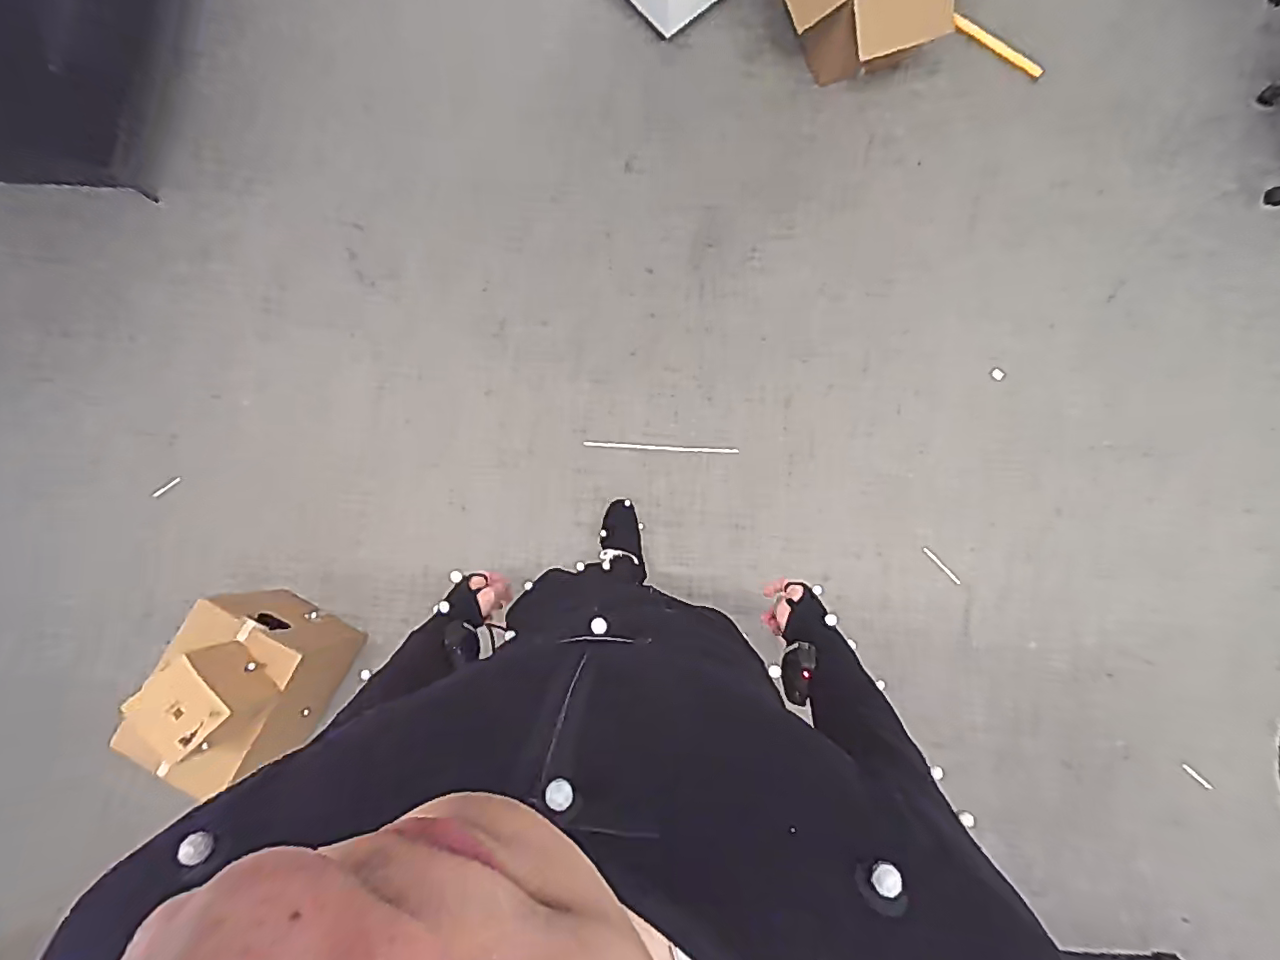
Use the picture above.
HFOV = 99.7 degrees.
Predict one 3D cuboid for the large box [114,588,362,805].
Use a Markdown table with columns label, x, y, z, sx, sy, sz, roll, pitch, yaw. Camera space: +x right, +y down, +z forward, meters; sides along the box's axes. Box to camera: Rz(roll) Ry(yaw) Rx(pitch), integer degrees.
| label | x | y | z | sx | sy | sz | roll | pitch | yaw |
| --- | --- | --- | --- | --- | --- | --- | --- | --- | --- |
| large box | -1.046 | 0.548 | 1.461 | 0.320 | 0.320 | 0.408 | 27 | 84 | 5 |

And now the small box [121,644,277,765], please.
| label | x | y | z | sx | sy | sz | roll | pitch | yaw |
| --- | --- | --- | --- | --- | --- | --- | --- | --- | --- |
| small box | -0.982 | 0.492 | 1.219 | 0.168 | 0.176 | 0.179 | -43 | 85 | -5 |
